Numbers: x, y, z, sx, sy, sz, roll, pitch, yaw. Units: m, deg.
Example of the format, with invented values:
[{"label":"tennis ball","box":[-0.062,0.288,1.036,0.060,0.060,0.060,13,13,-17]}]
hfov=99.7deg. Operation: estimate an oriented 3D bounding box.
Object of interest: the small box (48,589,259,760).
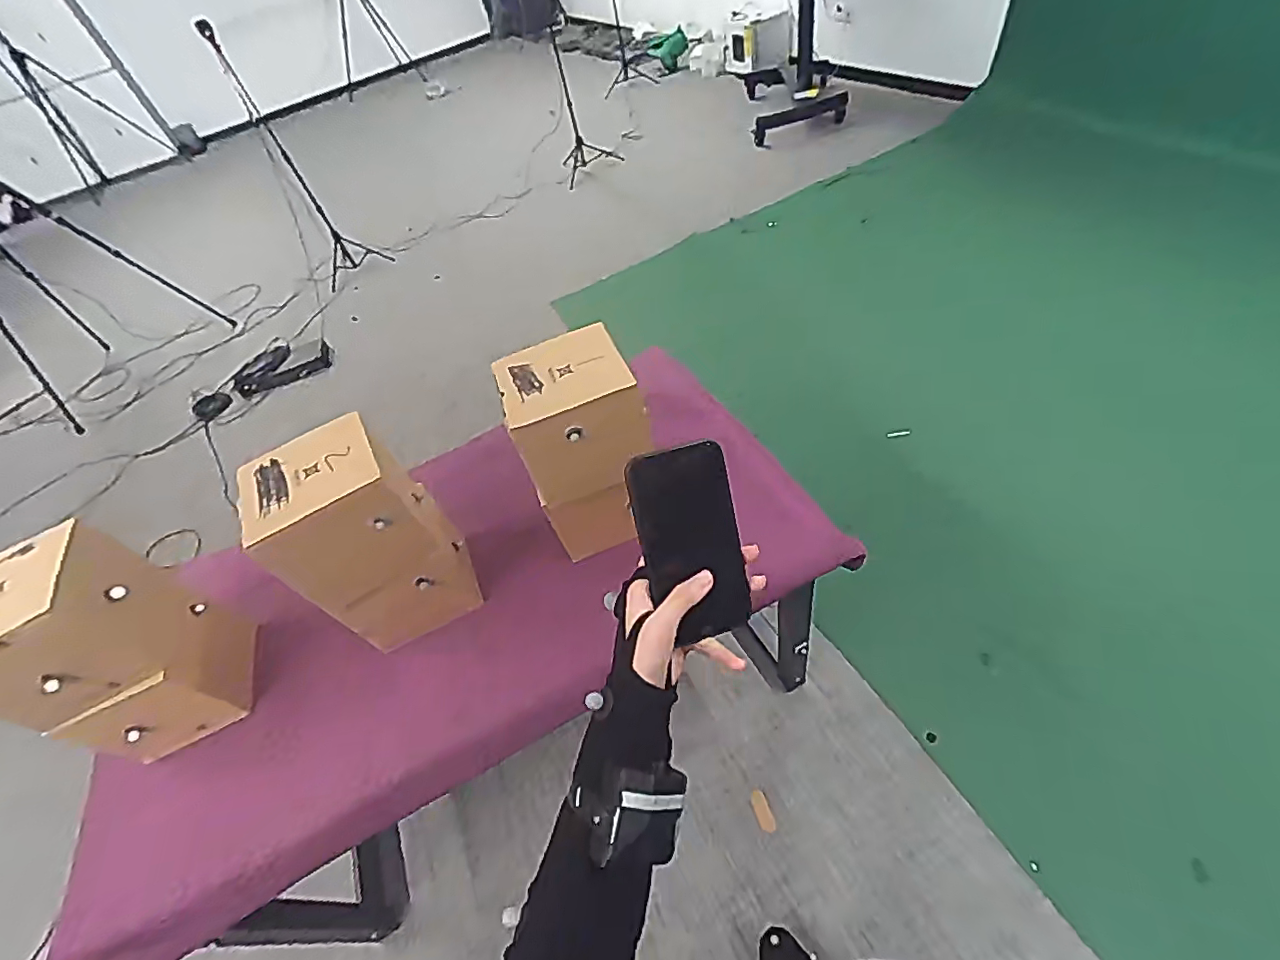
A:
[{"label":"small box","box":[-0.736,0.310,0.845,0.168,0.176,0.179,-26,49,-7]}]

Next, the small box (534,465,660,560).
[{"label":"small box","box":[-0.075,0.006,0.923,0.179,0.176,0.168,-22,48,-3]}]

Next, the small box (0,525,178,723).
[{"label":"small box","box":[-0.773,0.201,0.728,0.168,0.176,0.179,-30,50,-11]}]

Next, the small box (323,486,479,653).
[{"label":"small box","box":[-0.382,0.148,0.884,0.179,0.176,0.168,-27,49,-8]}]

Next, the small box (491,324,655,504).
[{"label":"small box","box":[-0.094,-0.092,0.793,0.179,0.176,0.168,-22,48,-5]}]
